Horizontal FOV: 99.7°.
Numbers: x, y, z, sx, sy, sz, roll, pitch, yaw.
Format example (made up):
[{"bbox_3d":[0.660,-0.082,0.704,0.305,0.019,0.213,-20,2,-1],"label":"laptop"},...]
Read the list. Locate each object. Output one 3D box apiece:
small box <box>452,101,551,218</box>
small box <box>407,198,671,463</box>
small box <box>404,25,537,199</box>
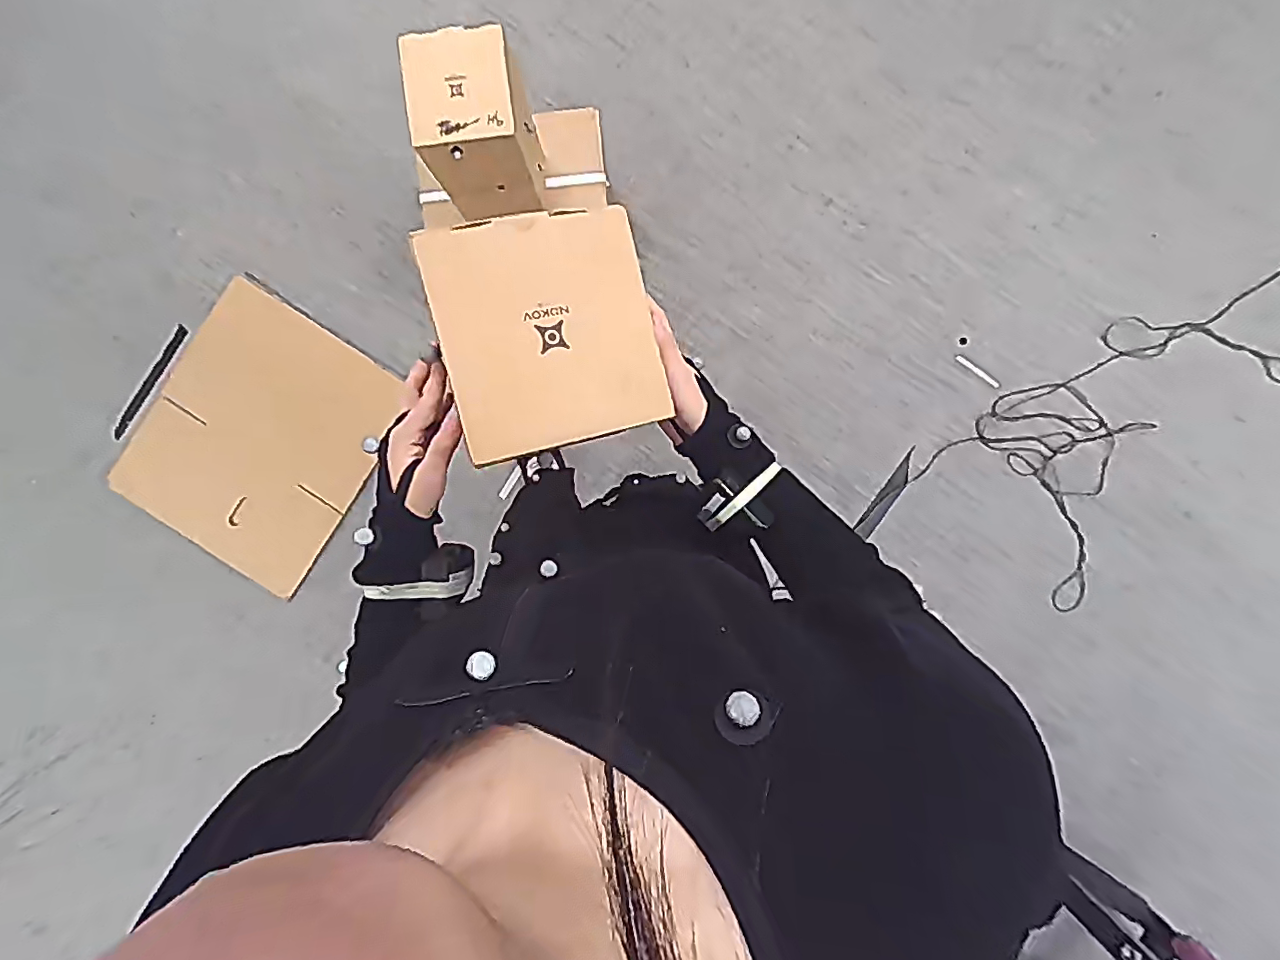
[{"bbox_3d":[-0.278,-0.616,1.088,0.168,0.176,0.179,-7,92,1],"label":"small box"},{"bbox_3d":[-0.090,-0.117,0.486,0.168,0.176,0.179,-16,93,-15],"label":"small box"},{"bbox_3d":[-0.280,-0.616,0.924,0.168,0.176,0.179,-7,90,1],"label":"small box"}]
